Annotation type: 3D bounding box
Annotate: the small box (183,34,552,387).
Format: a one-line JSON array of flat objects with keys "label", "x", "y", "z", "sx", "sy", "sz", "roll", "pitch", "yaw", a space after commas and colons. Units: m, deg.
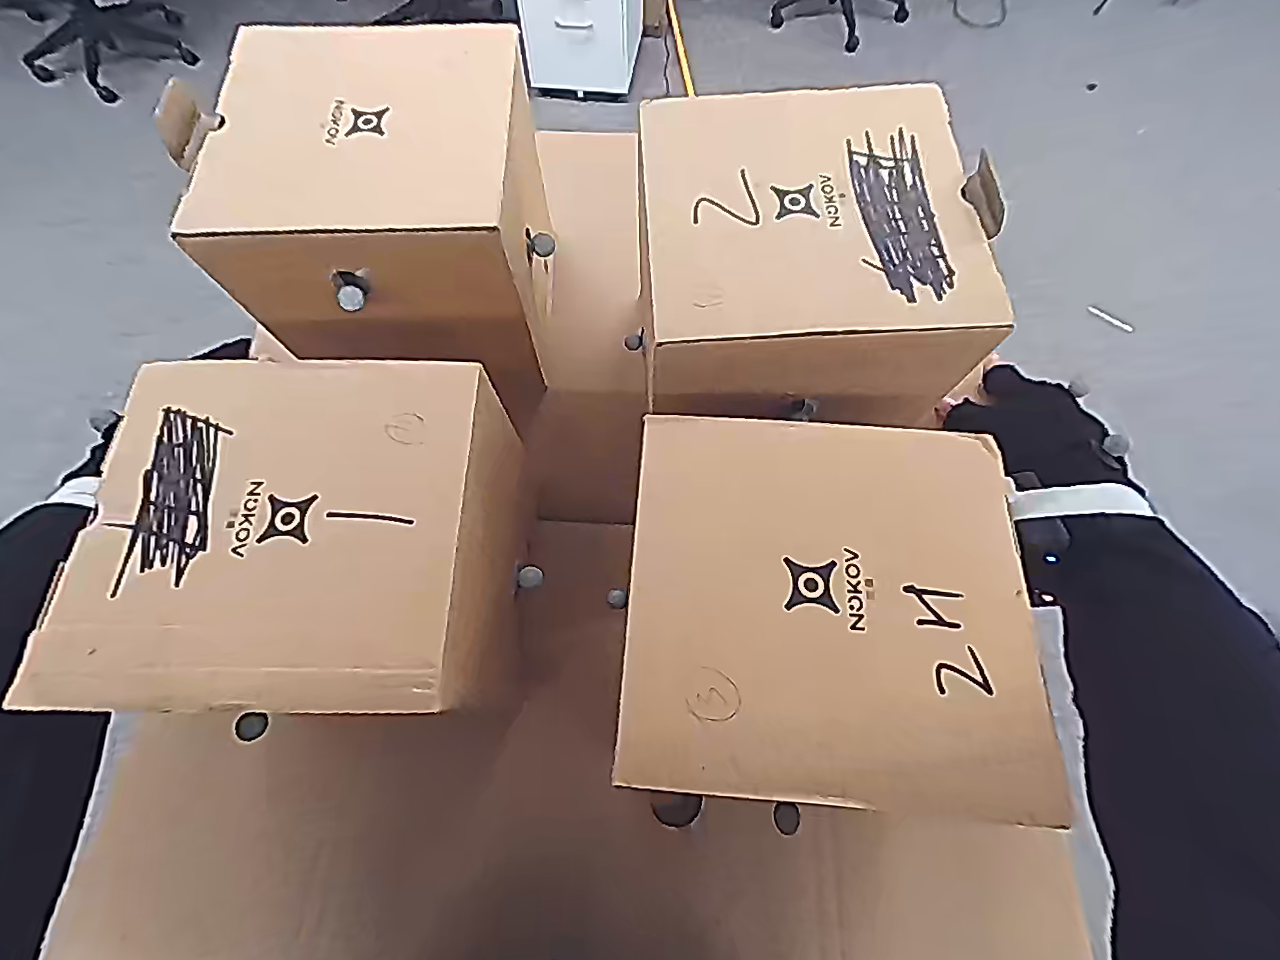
[{"label": "small box", "x": -0.163, "y": -0.180, "z": 0.396, "sx": 0.179, "sy": 0.176, "sz": 0.168, "roll": -1, "pitch": 69, "yaw": 1}]
